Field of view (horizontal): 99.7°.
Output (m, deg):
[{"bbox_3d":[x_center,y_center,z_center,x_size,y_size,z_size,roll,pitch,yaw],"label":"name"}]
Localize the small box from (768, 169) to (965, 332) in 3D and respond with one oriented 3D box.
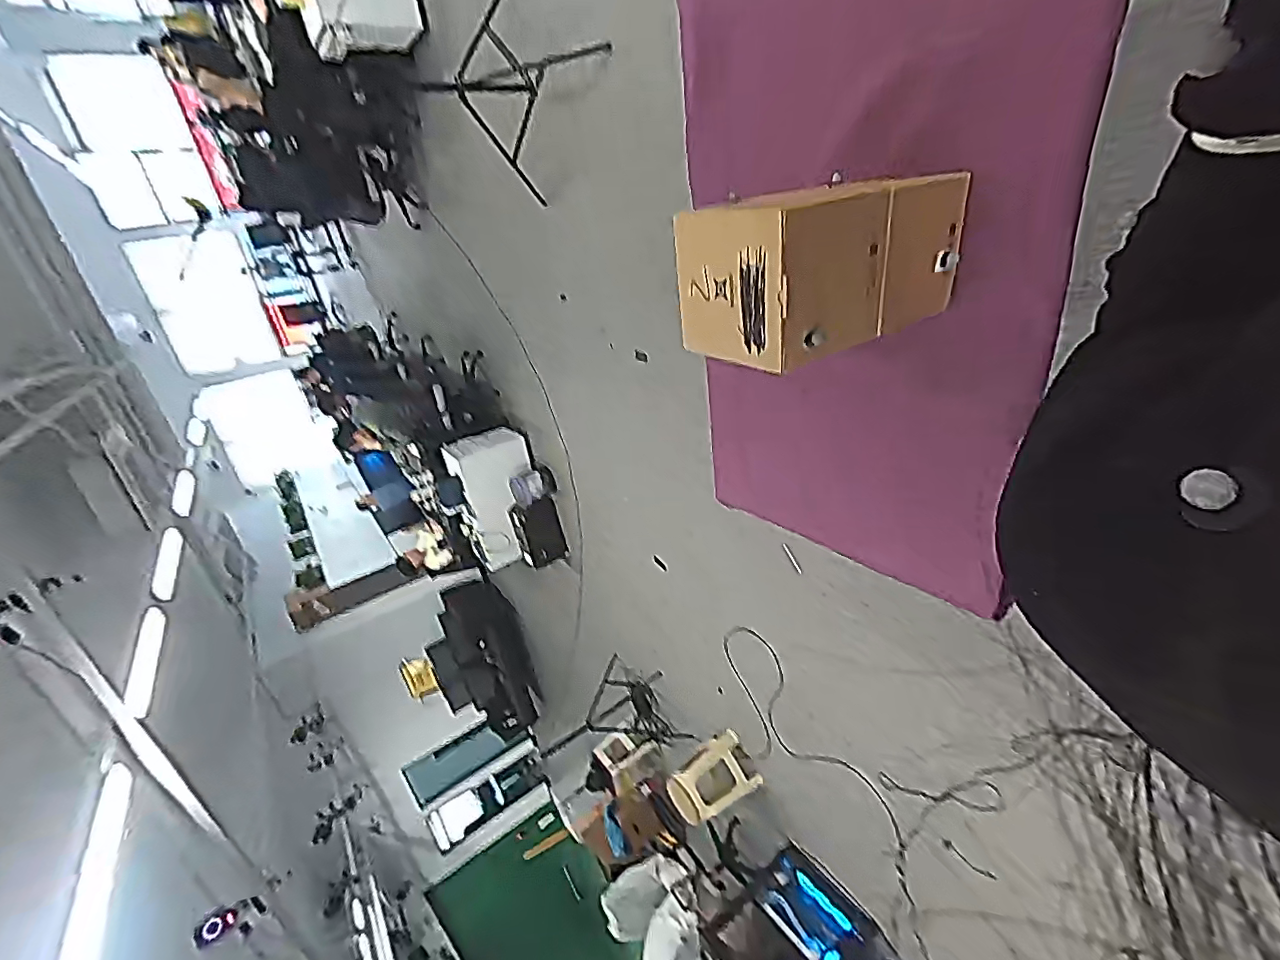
[{"bbox_3d":[0.292,-0.308,0.720,0.179,0.176,0.168,28,135,48],"label":"small box"}]
